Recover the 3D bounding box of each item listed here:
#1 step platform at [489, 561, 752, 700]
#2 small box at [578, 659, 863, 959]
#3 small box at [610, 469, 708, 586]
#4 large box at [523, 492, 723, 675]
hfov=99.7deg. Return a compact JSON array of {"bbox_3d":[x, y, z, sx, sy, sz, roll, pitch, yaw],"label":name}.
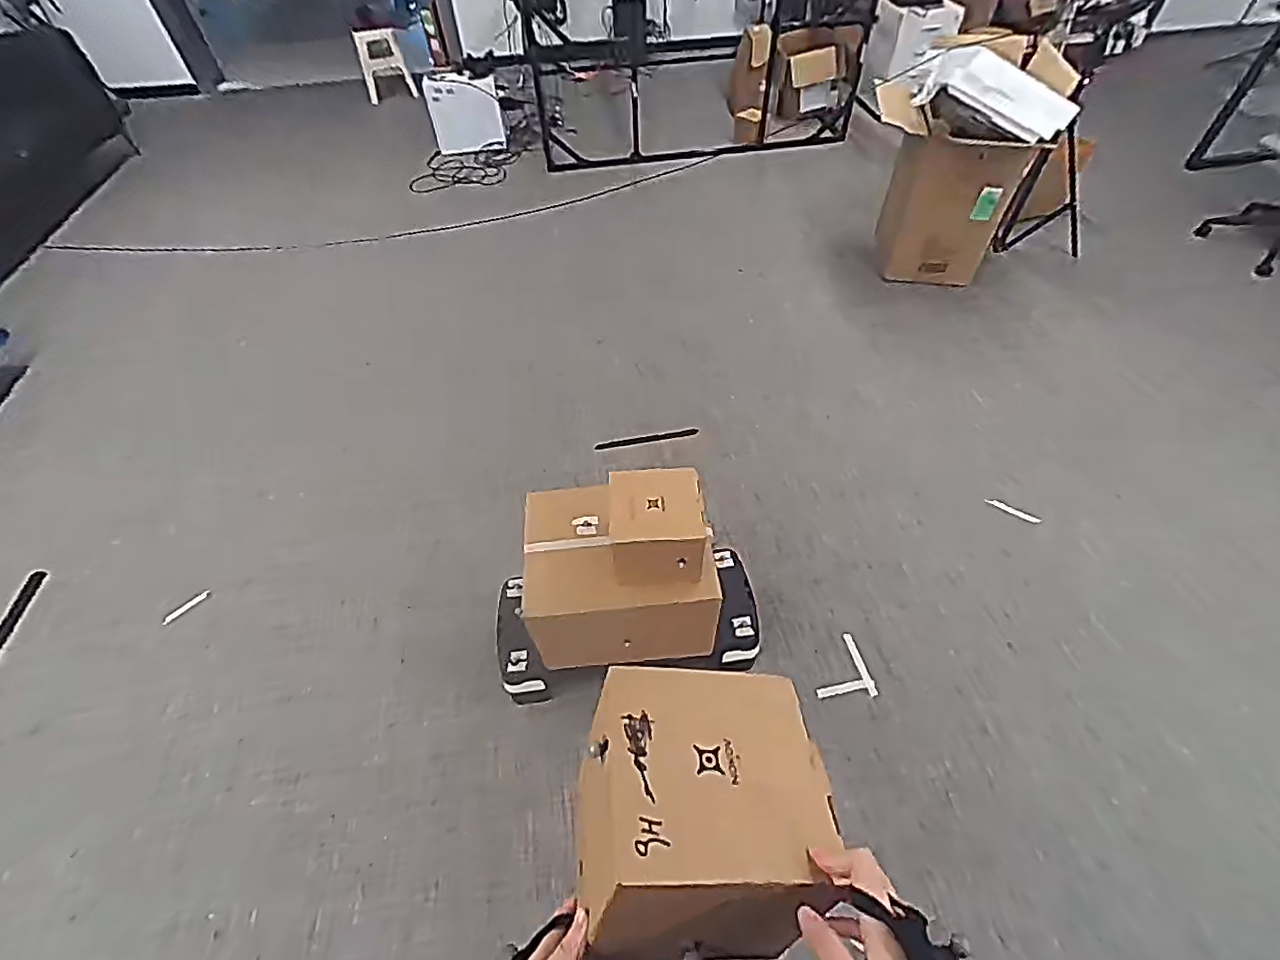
[{"bbox_3d":[-0.049,0.398,1.447,0.684,0.204,0.286,-4,51,0],"label":"step platform"},{"bbox_3d":[0.050,0.282,0.466,0.179,0.176,0.168,9,33,-10],"label":"small box"},{"bbox_3d":[0.034,0.097,1.064,0.179,0.176,0.168,-3,52,1],"label":"small box"},{"bbox_3d":[-0.039,0.237,1.269,0.408,0.320,0.320,-6,51,-1],"label":"large box"}]
